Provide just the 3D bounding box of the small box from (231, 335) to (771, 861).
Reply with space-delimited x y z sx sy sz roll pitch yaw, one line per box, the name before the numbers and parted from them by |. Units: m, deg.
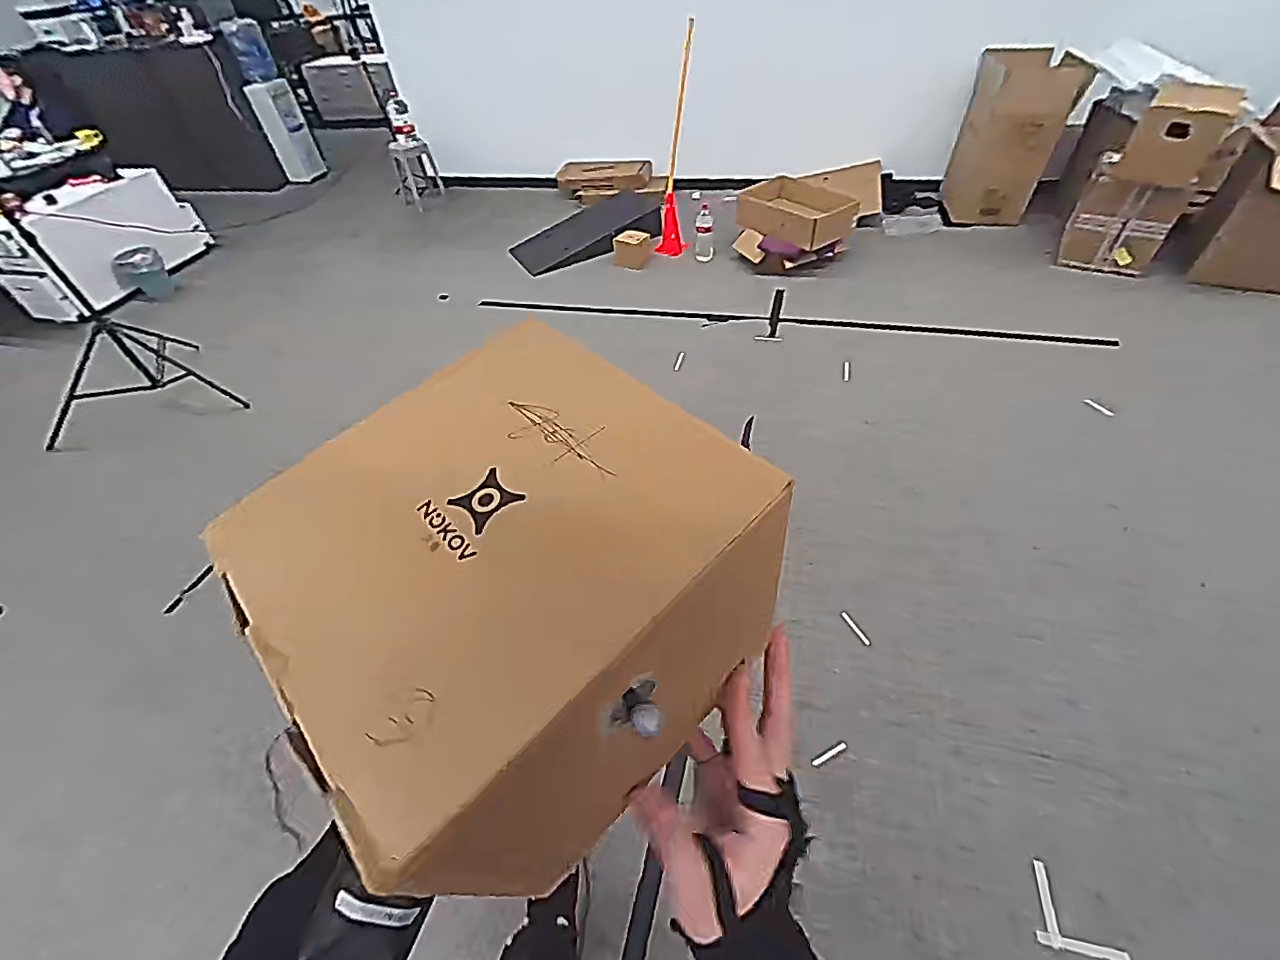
small box | -0.051 0.064 0.285 0.168 0.176 0.179 36 66 29
